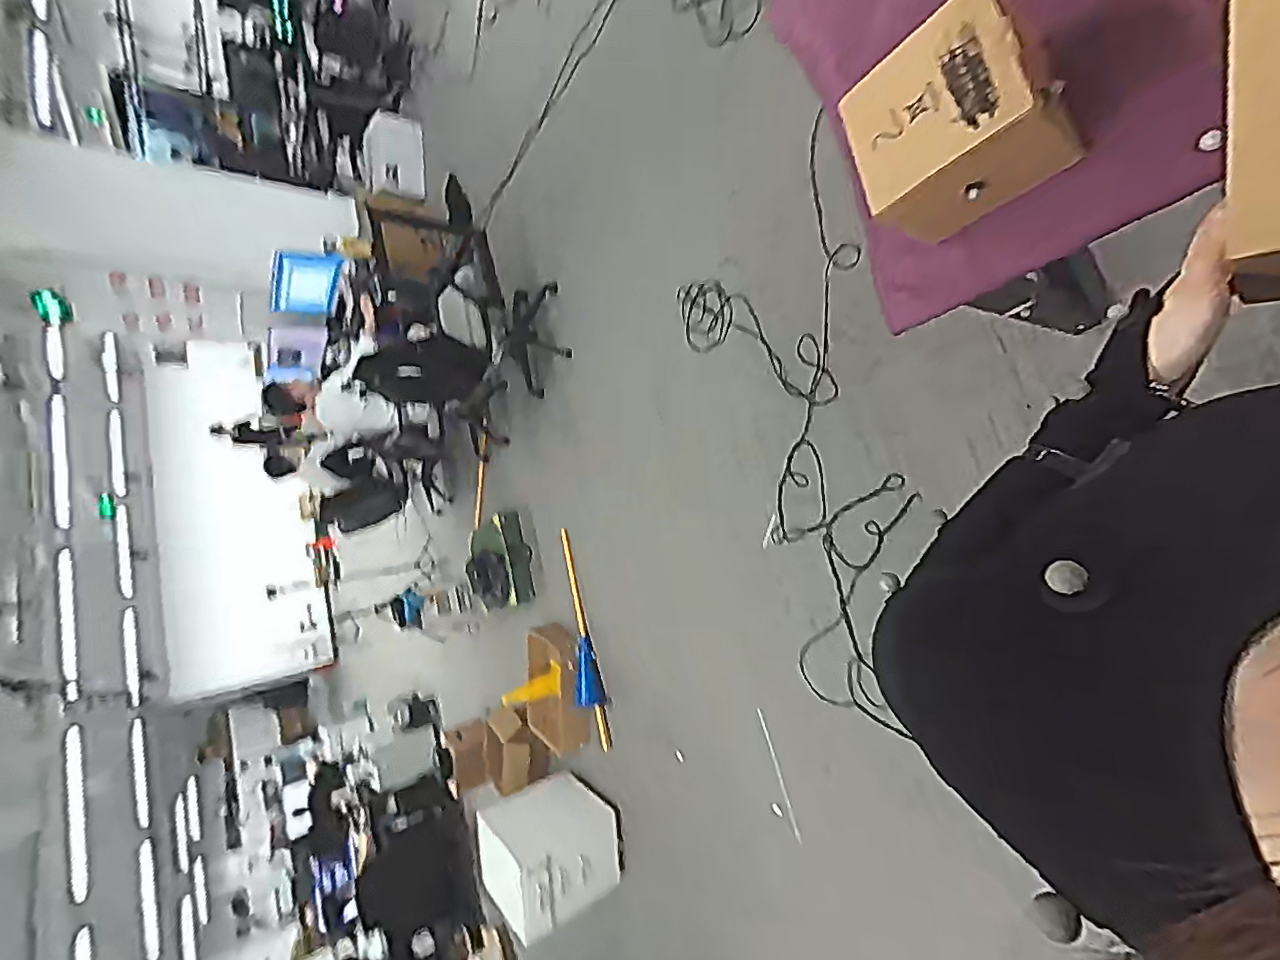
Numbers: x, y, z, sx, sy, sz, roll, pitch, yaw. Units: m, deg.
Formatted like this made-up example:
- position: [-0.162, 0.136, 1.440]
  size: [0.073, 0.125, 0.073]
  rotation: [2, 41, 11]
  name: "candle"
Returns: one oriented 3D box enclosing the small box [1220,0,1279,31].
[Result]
- position: [0.547, -0.520, 0.430]
  size: [0.168, 0.176, 0.179]
  rotation: [-33, 68, 49]
  name: "small box"
